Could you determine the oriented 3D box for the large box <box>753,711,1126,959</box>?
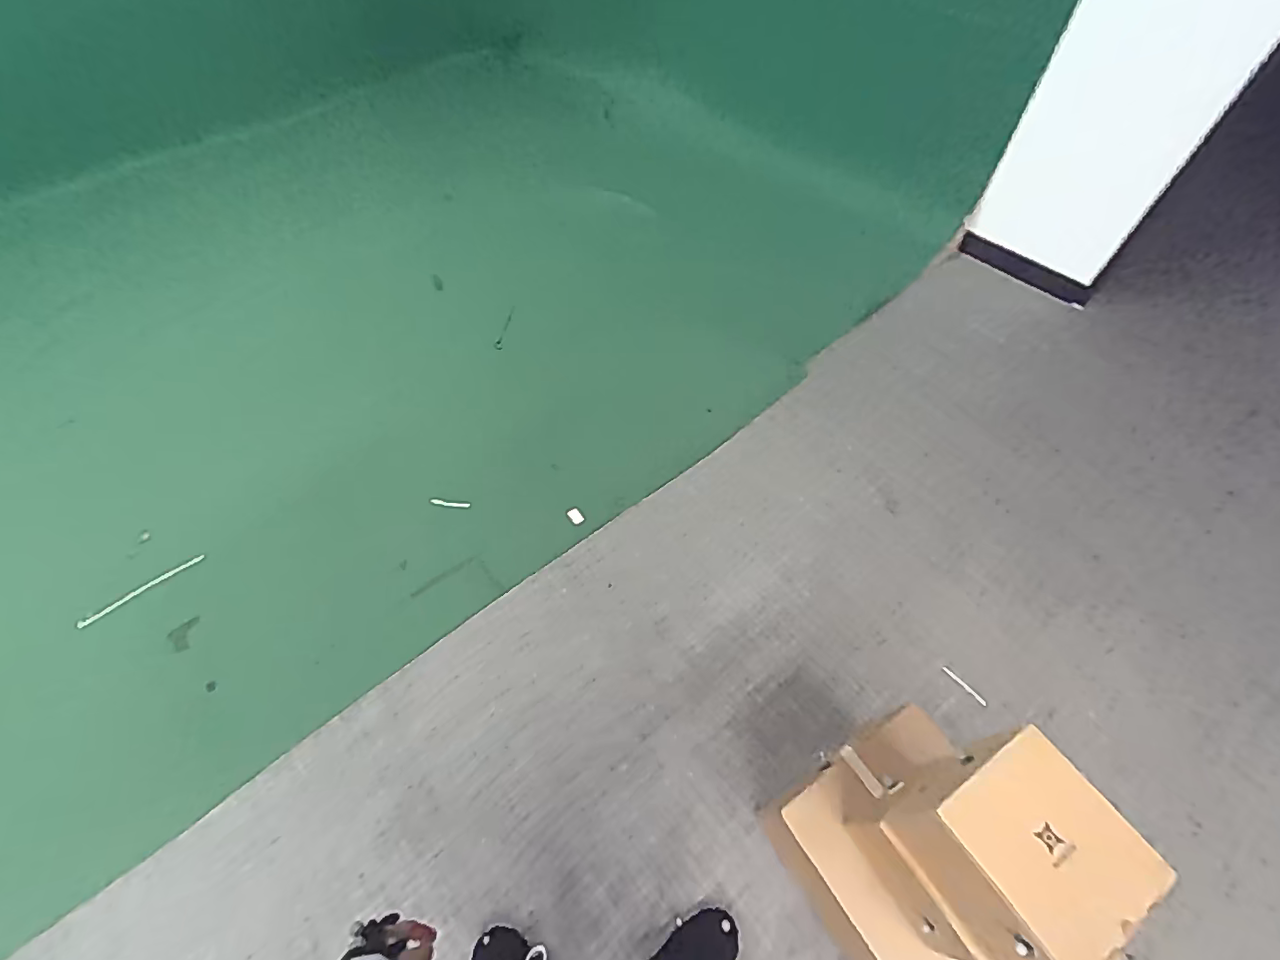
[{"bbox_3d":[0.460,0.689,0.941,0.320,0.320,0.408,-30,61,-15],"label":"large box"}]

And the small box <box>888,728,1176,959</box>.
[{"bbox_3d":[0.430,0.428,0.629,0.168,0.176,0.179,-28,60,-17],"label":"small box"}]

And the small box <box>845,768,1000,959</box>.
[{"bbox_3d":[0.425,0.529,0.757,0.168,0.176,0.179,-28,59,-17],"label":"small box"}]
